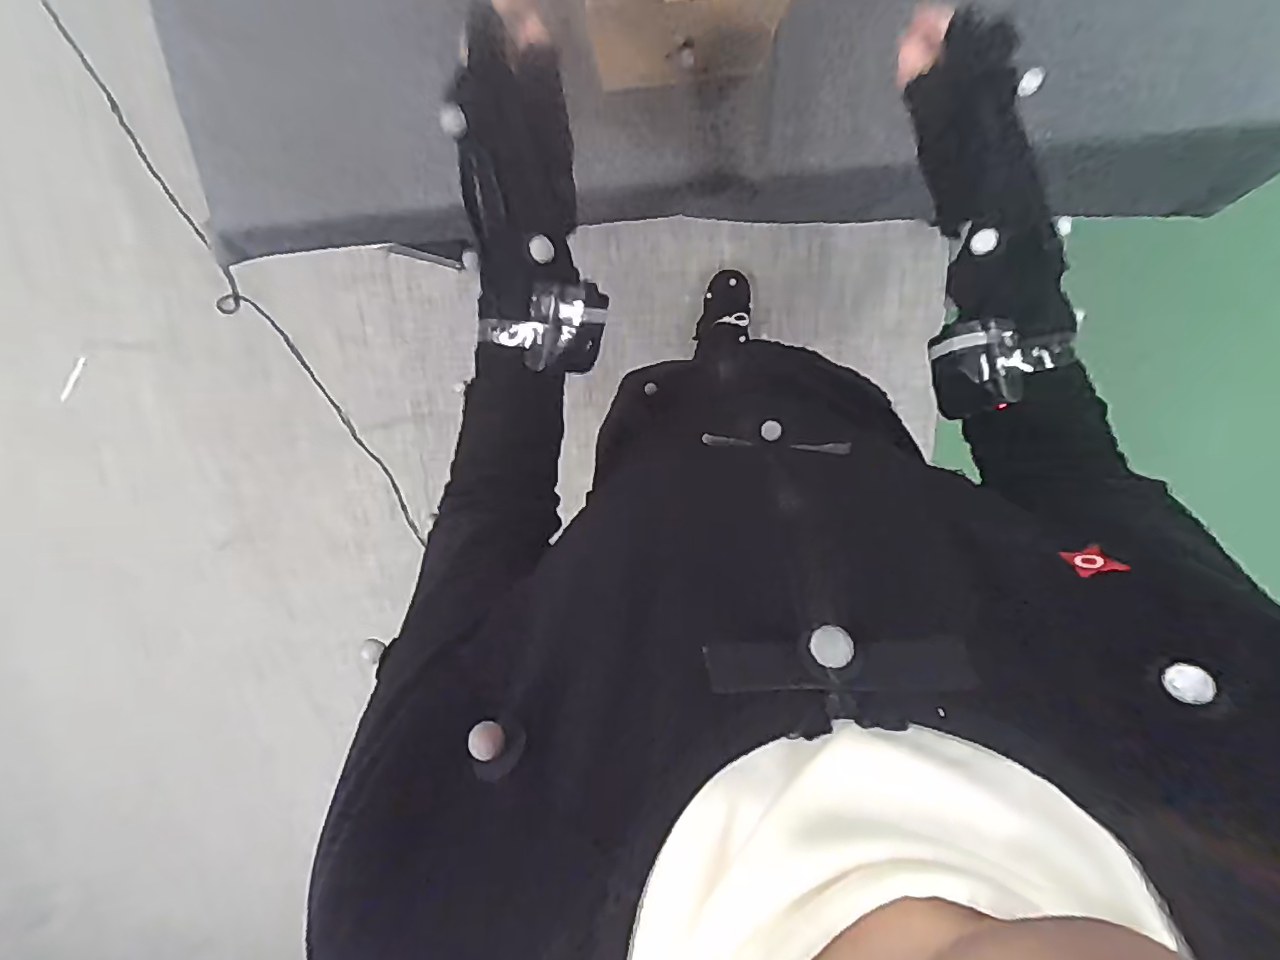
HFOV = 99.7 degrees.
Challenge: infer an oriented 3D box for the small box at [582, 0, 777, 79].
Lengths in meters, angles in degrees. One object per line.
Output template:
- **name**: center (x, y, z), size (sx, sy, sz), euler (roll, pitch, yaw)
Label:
- **small box**: center (0.032, -0.478, 0.466), size (0.168, 0.176, 0.179), euler (-5, 107, 3)
